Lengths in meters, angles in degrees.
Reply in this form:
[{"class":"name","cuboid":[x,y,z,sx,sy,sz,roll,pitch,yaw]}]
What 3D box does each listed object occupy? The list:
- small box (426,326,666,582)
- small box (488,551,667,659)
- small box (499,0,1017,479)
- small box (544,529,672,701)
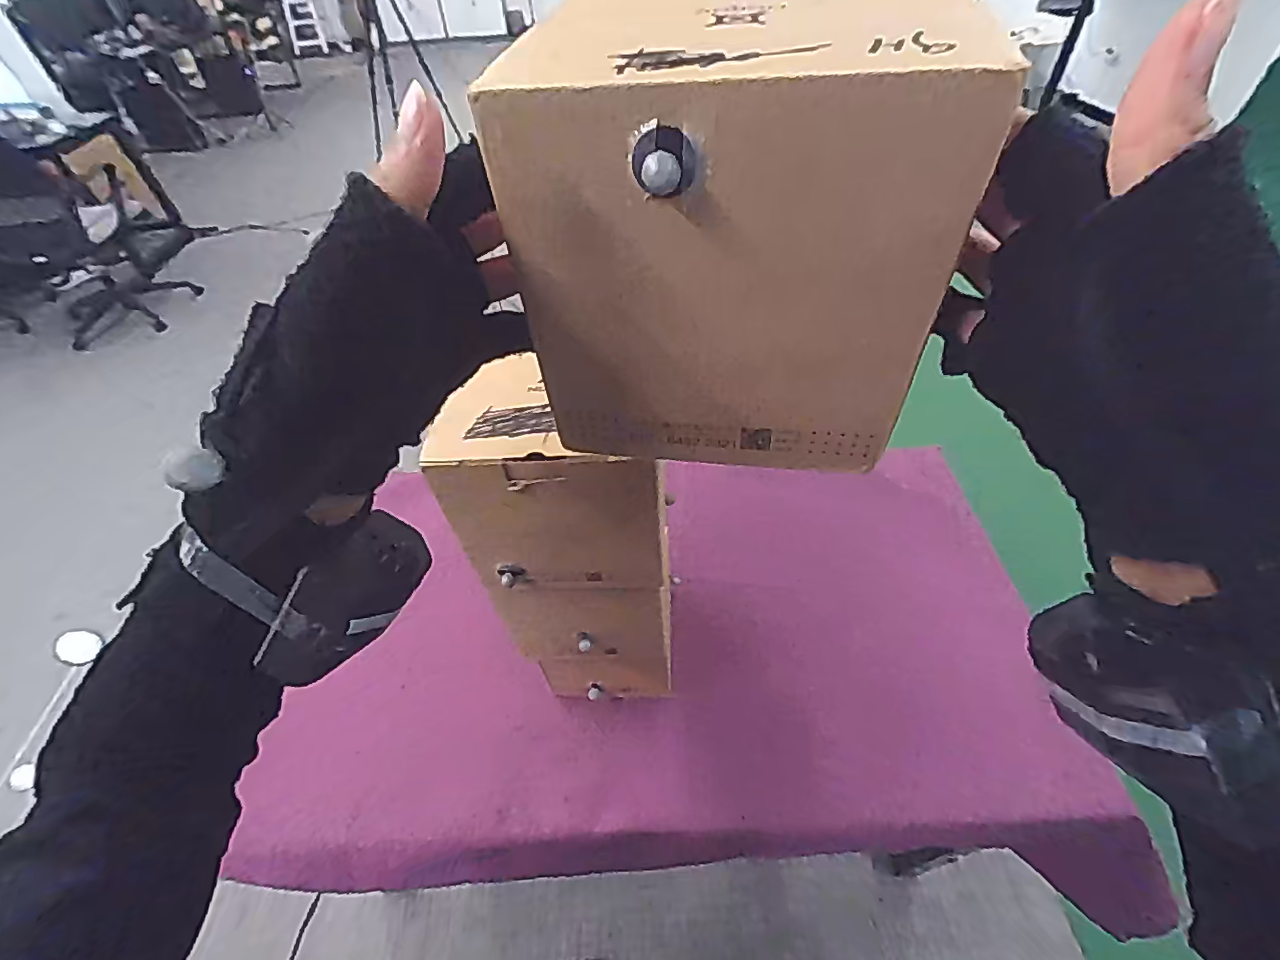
[{"class":"small box","cuboid":[-0.062,-0.020,0.487,0.168,0.176,0.179,-1,46,4]},{"class":"small box","cuboid":[-0.055,0.085,0.614,0.168,0.176,0.179,-3,48,4]},{"class":"small box","cuboid":[0.051,-0.125,0.283,0.168,0.176,0.179,5,49,11]},{"class":"small box","cuboid":[-0.041,0.184,0.744,0.168,0.176,0.179,-1,48,4]}]
